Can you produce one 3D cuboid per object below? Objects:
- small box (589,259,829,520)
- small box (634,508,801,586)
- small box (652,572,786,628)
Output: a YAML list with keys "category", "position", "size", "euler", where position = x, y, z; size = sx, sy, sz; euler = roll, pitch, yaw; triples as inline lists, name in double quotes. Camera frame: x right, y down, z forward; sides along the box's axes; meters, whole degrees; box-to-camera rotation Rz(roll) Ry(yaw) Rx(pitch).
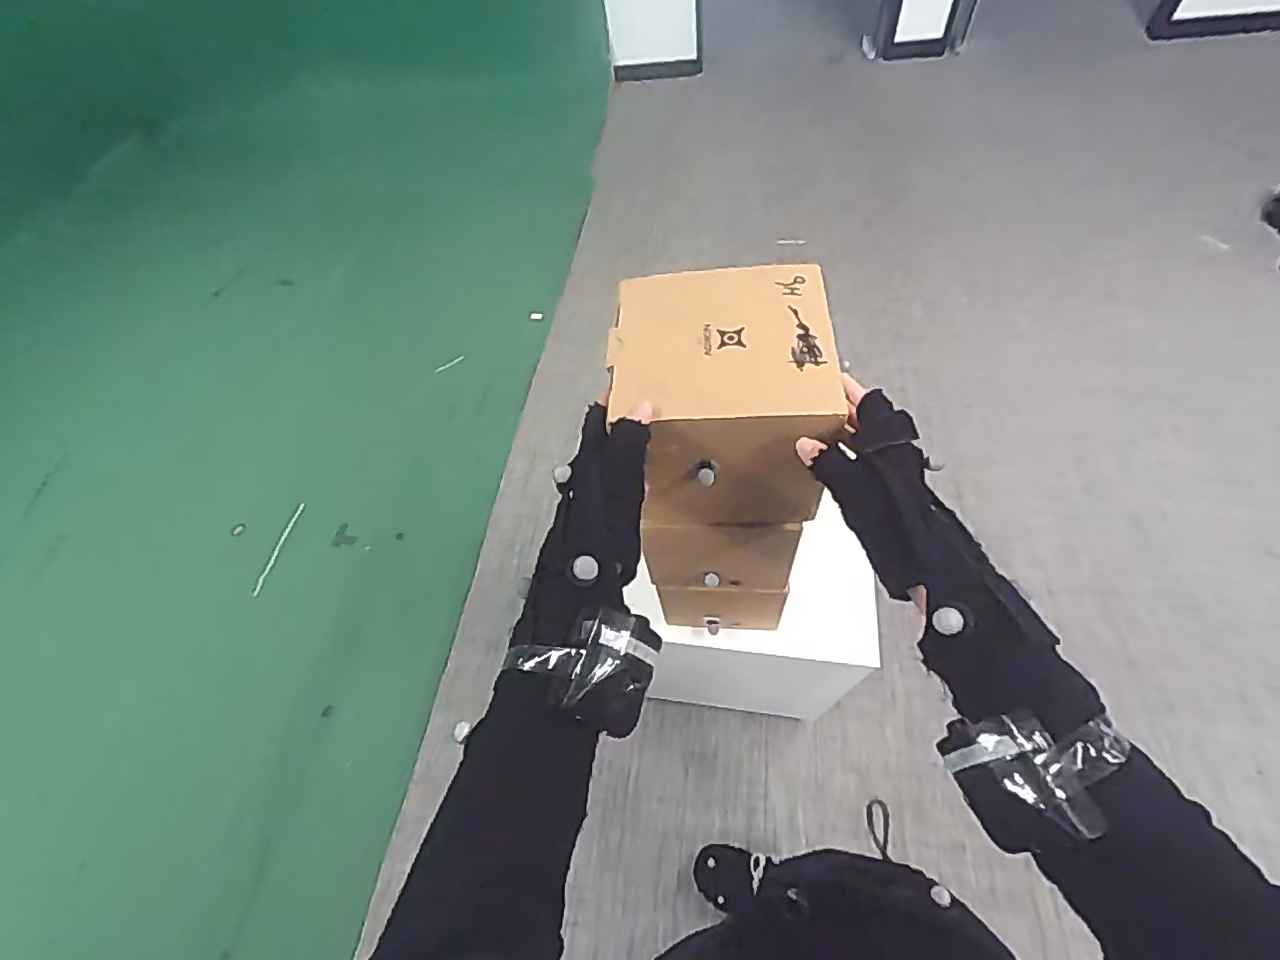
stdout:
- category: "small box"
  position: [0.065, -0.071, 0.494]
  size: [0.179, 0.176, 0.168]
  euler: [-2, 59, 9]
- category: "small box"
  position: [0.088, 0.011, 0.634]
  size: [0.168, 0.176, 0.179]
  euler: [-2, 57, 8]
- category: "small box"
  position: [0.113, 0.099, 0.770]
  size: [0.168, 0.176, 0.179]
  euler: [-1, 60, 10]
